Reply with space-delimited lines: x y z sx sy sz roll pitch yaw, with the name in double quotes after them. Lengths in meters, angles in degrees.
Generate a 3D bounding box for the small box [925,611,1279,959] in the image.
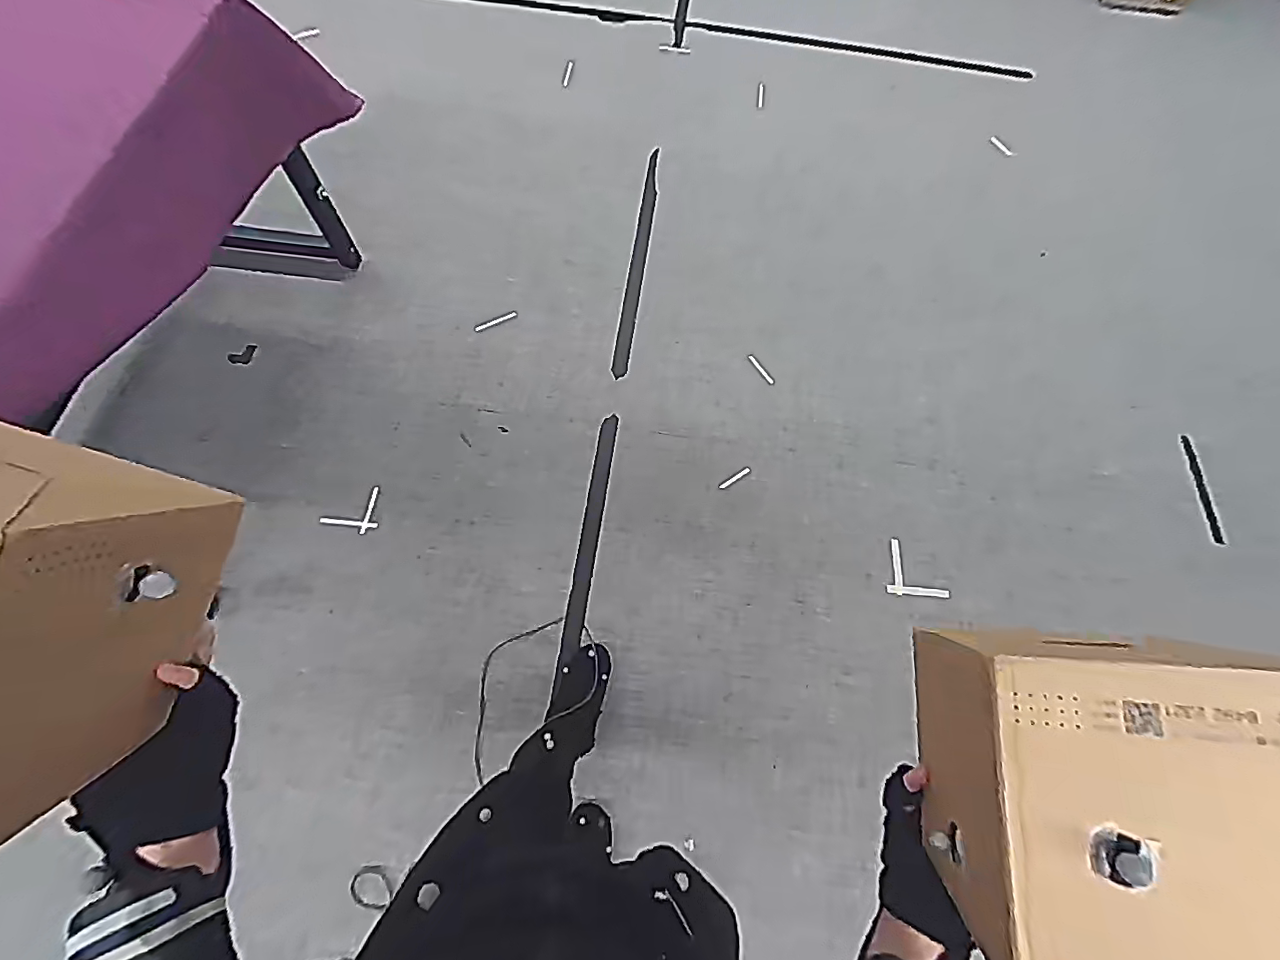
0.275 0.167 0.314 0.168 0.179 0.176 0 80 15 "small box"

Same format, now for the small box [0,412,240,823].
-0.349 0.054 0.263 0.168 0.179 0.176 20 88 -10 "small box"
